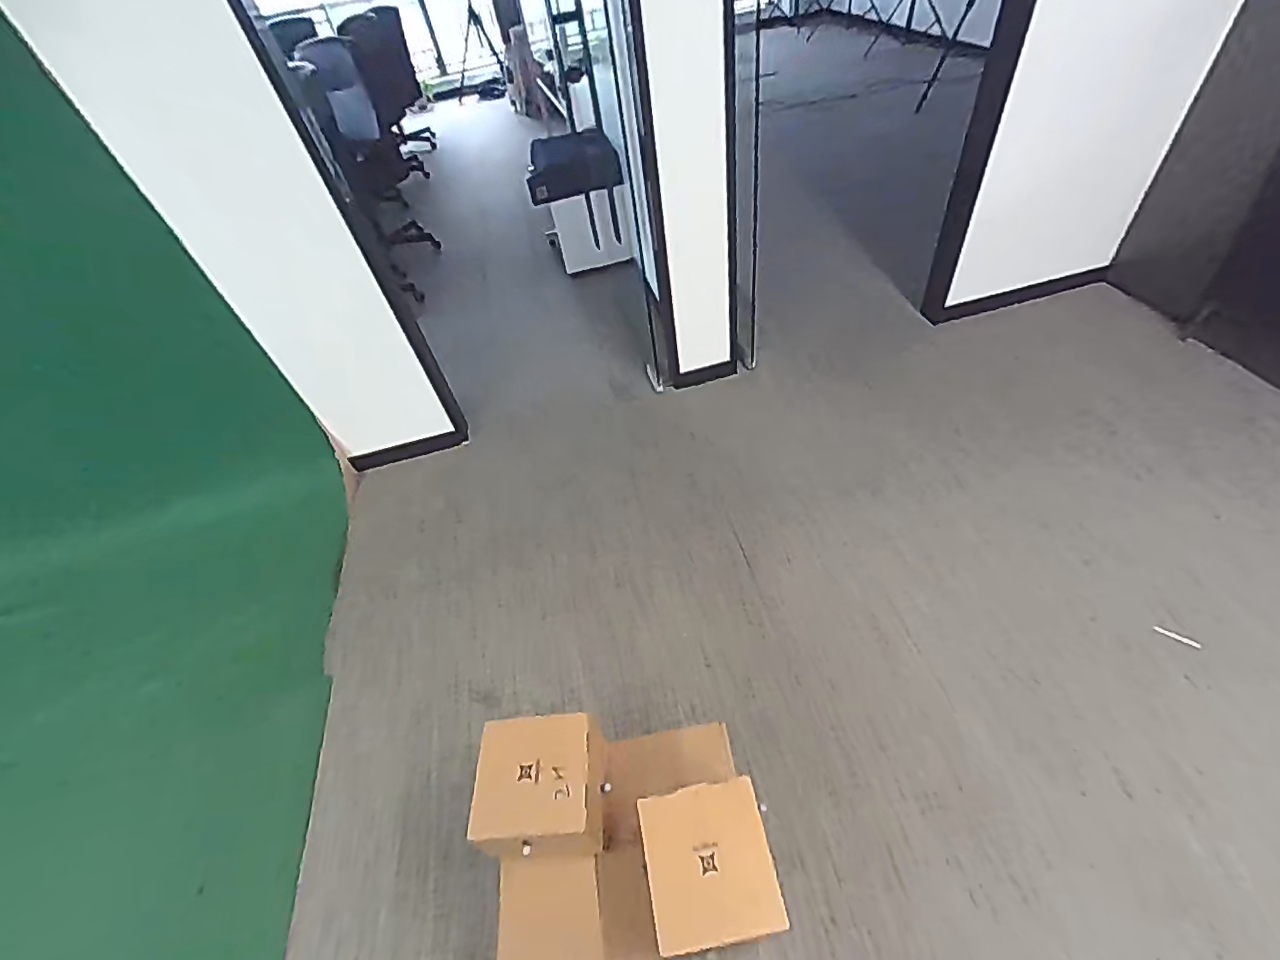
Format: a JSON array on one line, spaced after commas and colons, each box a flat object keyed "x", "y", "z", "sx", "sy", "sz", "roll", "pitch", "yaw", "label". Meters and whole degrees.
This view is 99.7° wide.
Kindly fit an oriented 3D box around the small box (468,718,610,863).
[{"x": -0.151, "y": 0.503, "z": 0.872, "sx": 0.179, "sy": 0.176, "sz": 0.168, "roll": -6, "pitch": 46, "yaw": 4, "label": "small box"}]

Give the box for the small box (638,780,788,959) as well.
[{"x": 0.100, "y": 0.559, "z": 0.771, "sx": 0.168, "sy": 0.176, "sz": 0.179, "roll": -12, "pitch": 47, "yaw": -1, "label": "small box"}]
